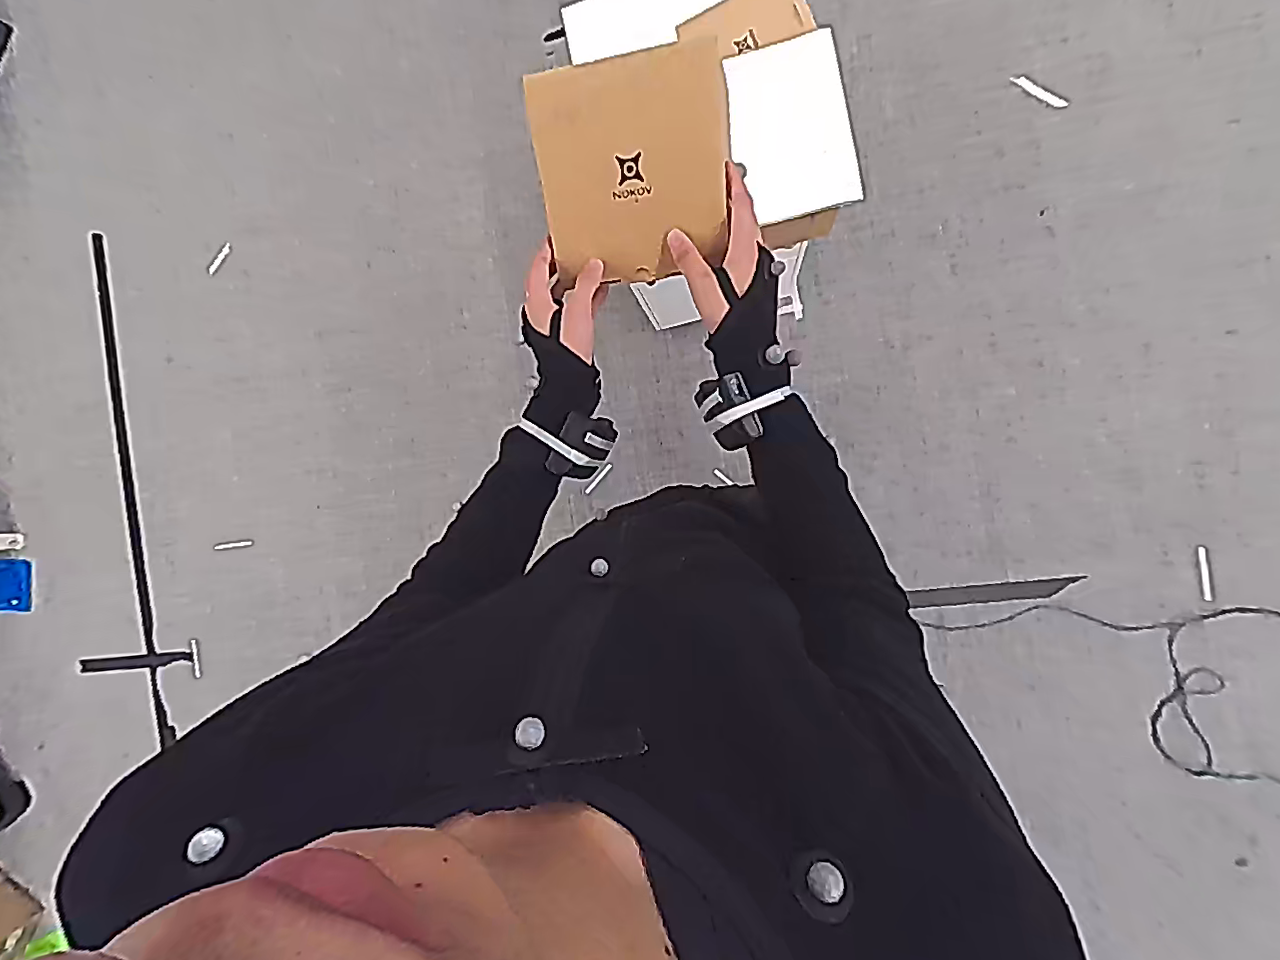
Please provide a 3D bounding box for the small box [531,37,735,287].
[{"bbox_3d":[0.008,-0.303,0.549,0.168,0.176,0.179,-3,115,13],"label":"small box"}]
